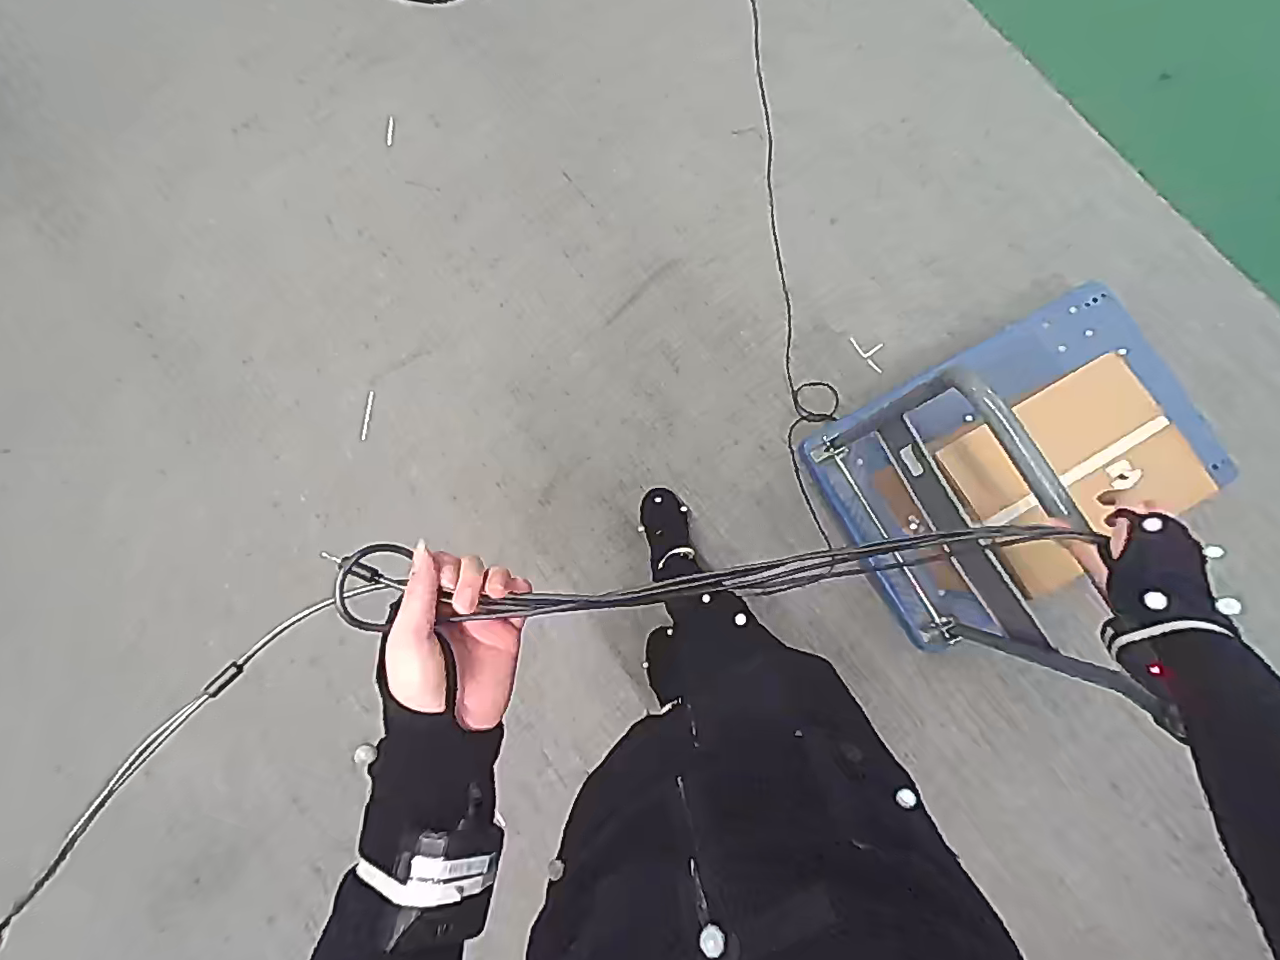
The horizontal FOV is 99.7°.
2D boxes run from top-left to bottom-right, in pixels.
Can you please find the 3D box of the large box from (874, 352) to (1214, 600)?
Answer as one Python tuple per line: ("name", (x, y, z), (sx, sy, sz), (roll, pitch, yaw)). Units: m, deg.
("large box", (0.789, 0.010, 1.126), (0.408, 0.320, 0.320), (-30, 82, -3))
